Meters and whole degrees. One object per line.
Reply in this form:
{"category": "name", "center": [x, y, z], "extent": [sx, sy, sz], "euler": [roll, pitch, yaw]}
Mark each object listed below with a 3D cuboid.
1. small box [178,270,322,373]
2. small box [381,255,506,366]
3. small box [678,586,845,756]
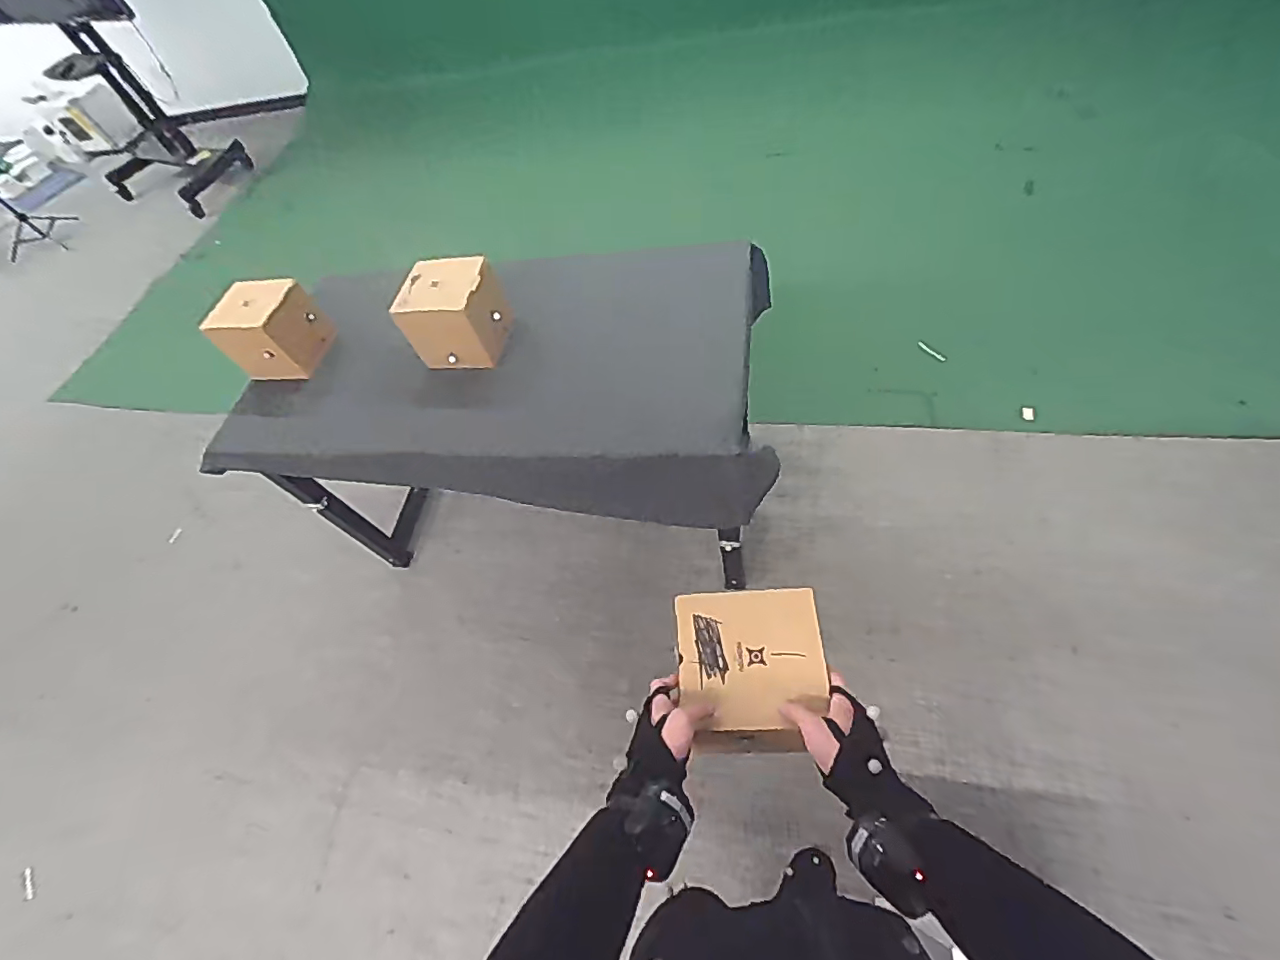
{"category": "small box", "center": [-0.890, -0.363, 1.256], "extent": [0.179, 0.176, 0.168], "euler": [1, 56, 11]}
{"category": "small box", "center": [-0.415, -0.366, 1.178], "extent": [0.179, 0.176, 0.168], "euler": [4, 57, 11]}
{"category": "small box", "center": [0.144, 0.249, 0.691], "extent": [0.179, 0.176, 0.168], "euler": [-4, 54, 5]}
